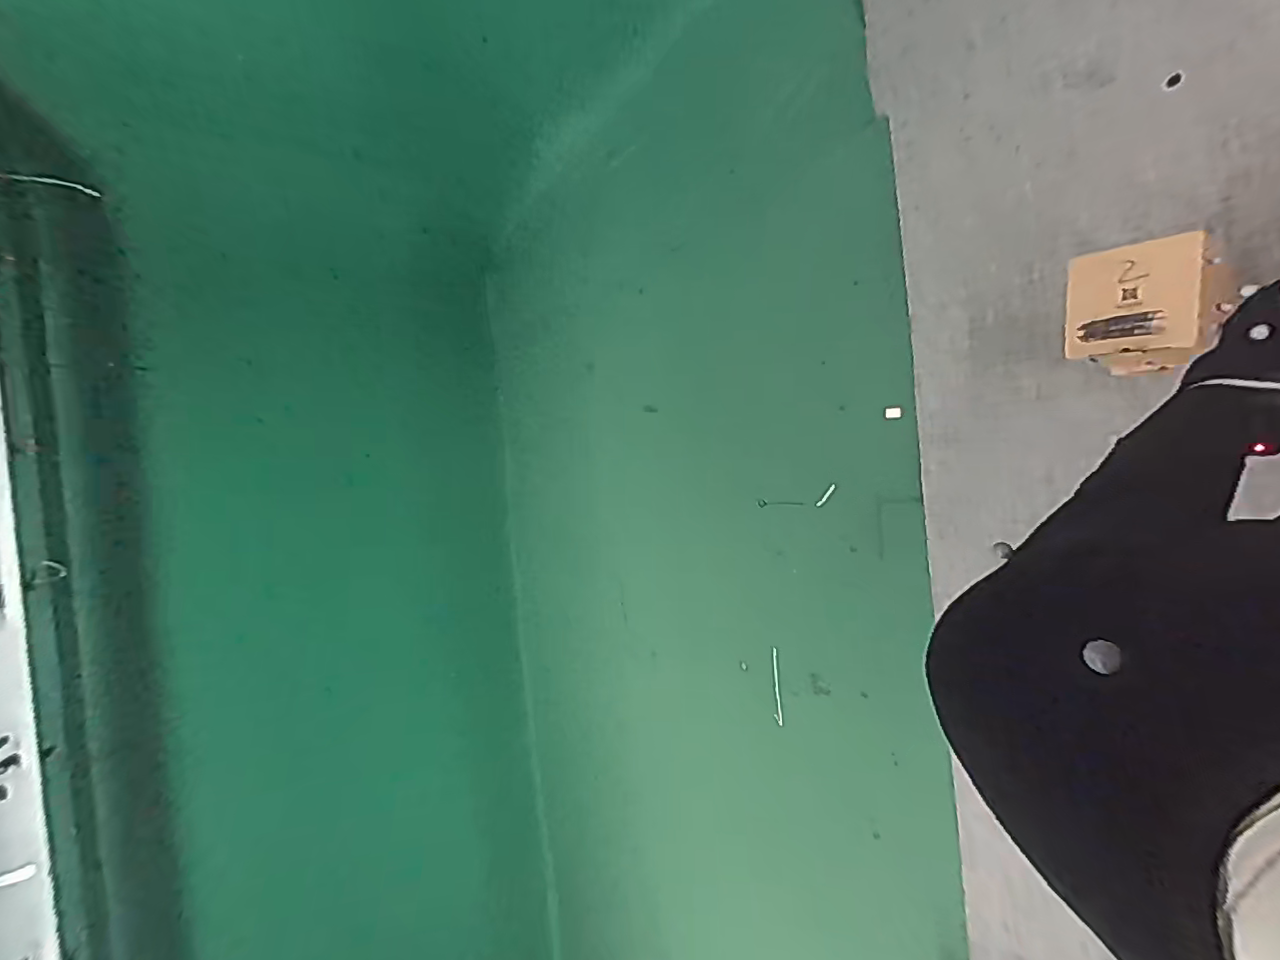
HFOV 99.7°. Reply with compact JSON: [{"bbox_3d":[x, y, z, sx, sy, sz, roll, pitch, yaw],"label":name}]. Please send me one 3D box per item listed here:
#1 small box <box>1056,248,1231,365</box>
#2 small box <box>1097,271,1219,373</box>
[{"bbox_3d":[0.973,-0.329,1.050,0.179,0.176,0.168,46,130,39],"label":"small box"},{"bbox_3d":[1.098,-0.323,1.144,0.168,0.176,0.179,4,97,51],"label":"small box"}]
